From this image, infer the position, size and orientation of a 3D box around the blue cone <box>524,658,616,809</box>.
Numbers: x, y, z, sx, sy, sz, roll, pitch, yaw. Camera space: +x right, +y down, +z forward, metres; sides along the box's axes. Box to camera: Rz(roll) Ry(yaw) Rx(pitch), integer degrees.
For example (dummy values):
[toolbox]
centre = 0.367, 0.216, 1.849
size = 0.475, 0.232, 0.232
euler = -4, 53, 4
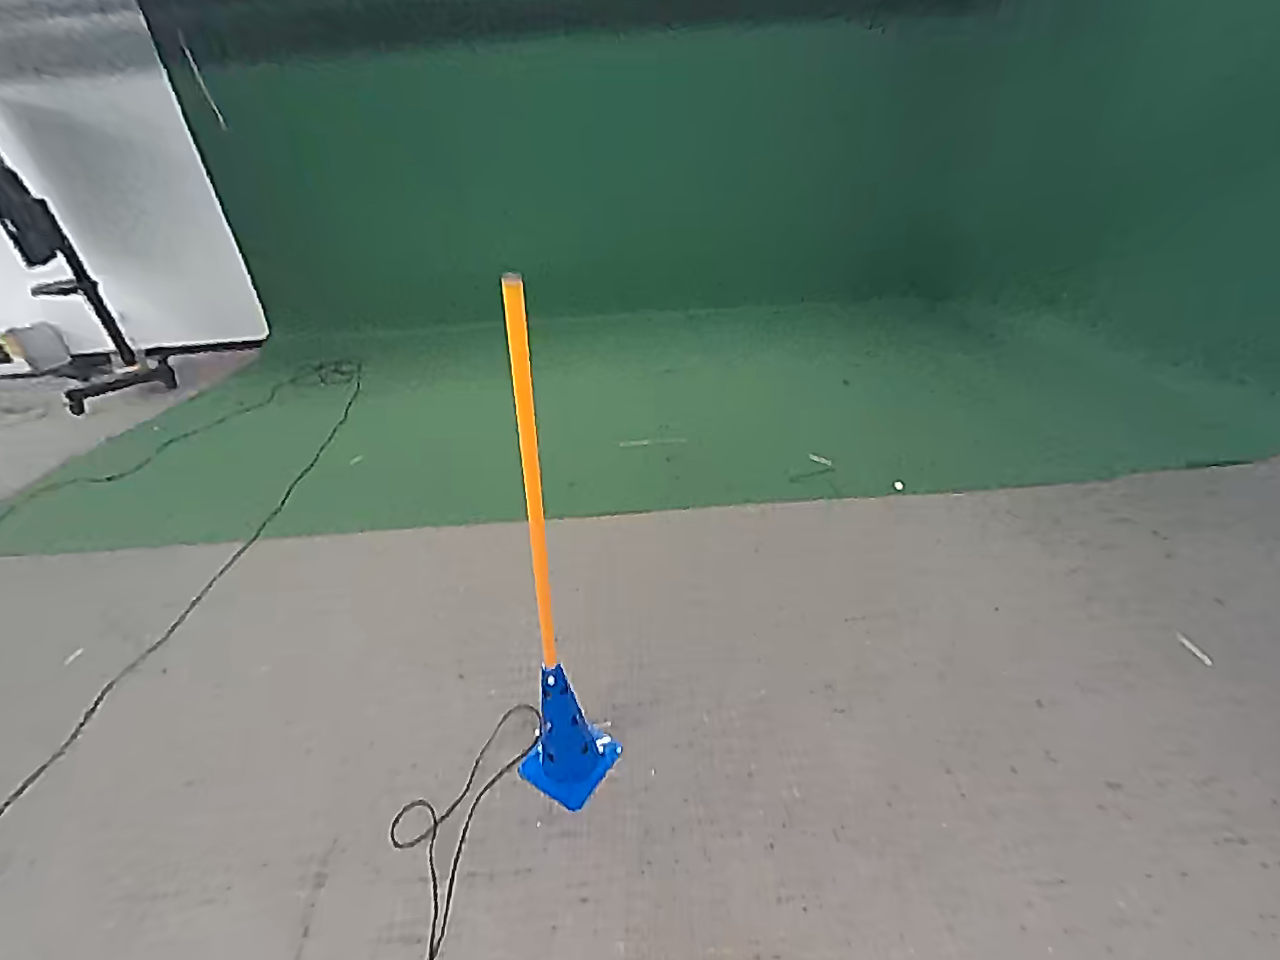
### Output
[blue cone]
centre = -0.182, 0.562, 1.273
size = 0.192, 0.380, 0.193
euler = 15, 34, 27
